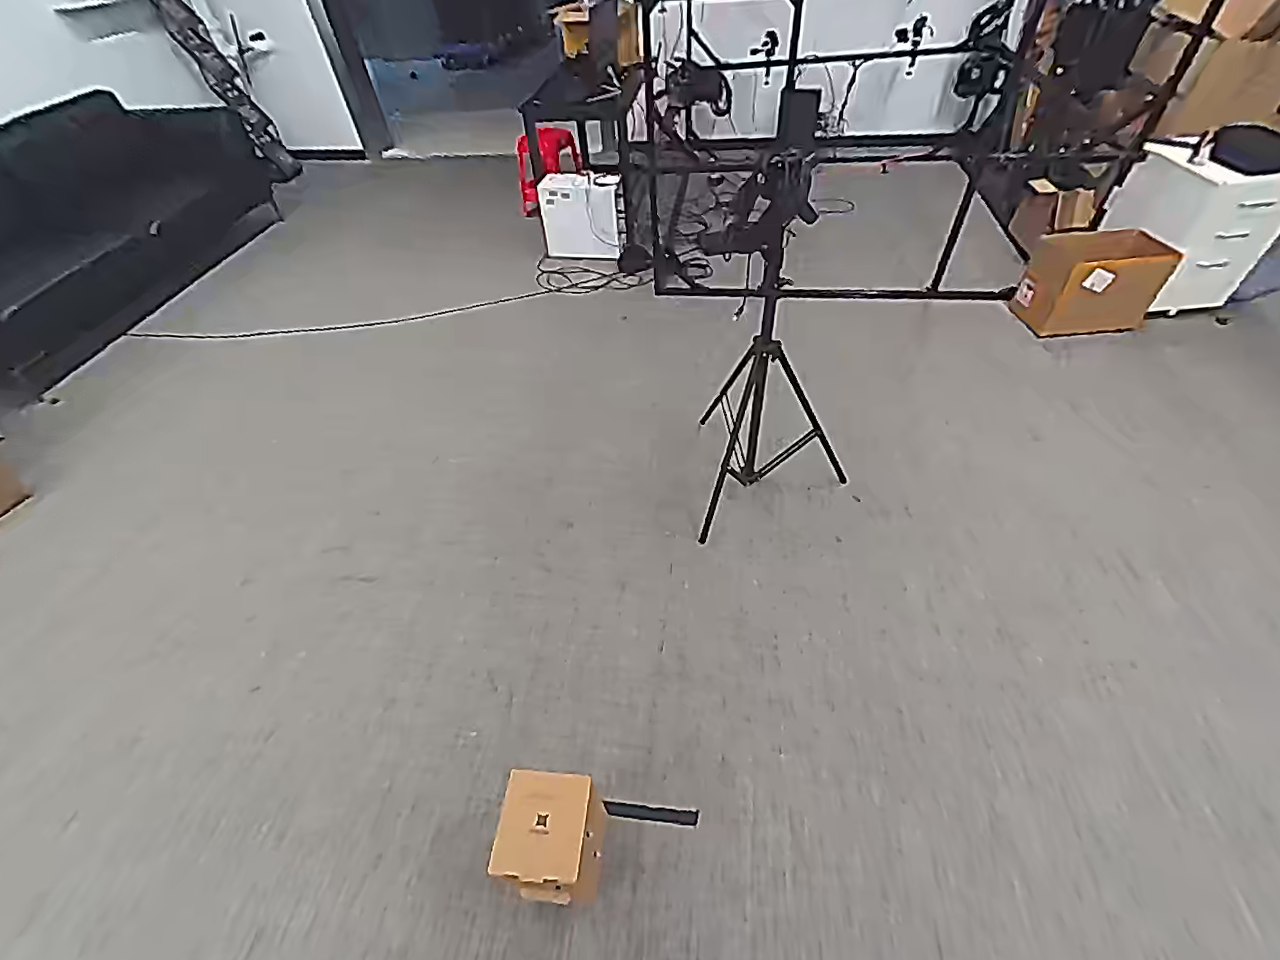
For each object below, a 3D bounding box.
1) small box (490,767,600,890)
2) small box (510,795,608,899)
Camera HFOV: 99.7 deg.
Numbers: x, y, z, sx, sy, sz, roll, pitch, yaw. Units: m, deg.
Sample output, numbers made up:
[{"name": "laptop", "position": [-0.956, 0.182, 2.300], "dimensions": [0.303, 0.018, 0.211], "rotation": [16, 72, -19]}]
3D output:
[{"name": "small box", "position": [-0.177, 0.696, 1.076], "dimensions": [0.168, 0.176, 0.179], "rotation": [2, 47, 6]}, {"name": "small box", "position": [-0.169, 0.805, 1.196], "dimensions": [0.168, 0.176, 0.179], "rotation": [2, 47, 7]}]
